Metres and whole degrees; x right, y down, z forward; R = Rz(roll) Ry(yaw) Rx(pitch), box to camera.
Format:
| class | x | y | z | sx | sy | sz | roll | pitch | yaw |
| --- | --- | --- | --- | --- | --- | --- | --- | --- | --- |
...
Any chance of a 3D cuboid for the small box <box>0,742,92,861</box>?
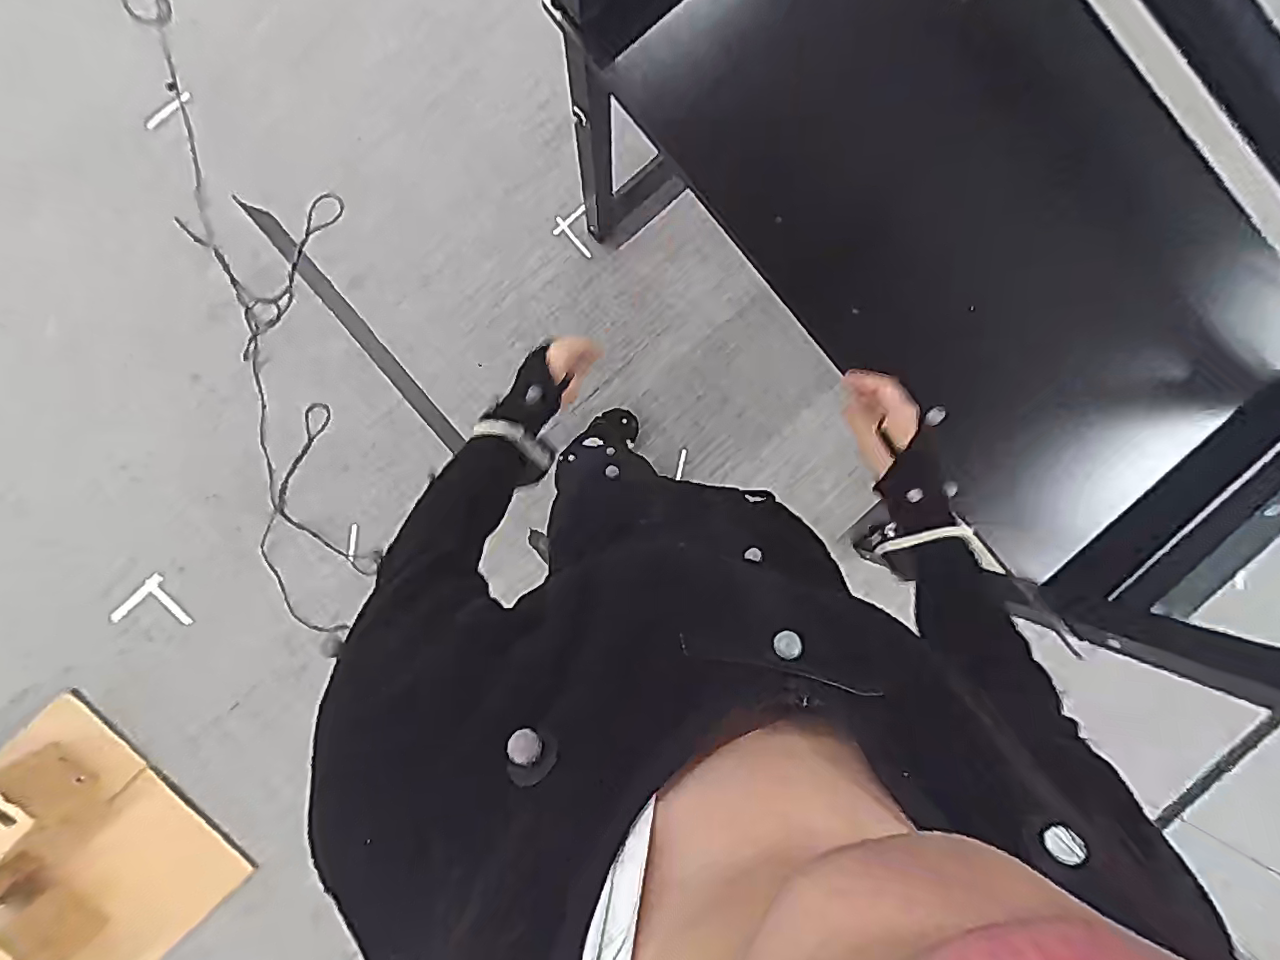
| class | x | y | z | sx | sy | sz | roll | pitch | yaw |
| --- | --- | --- | --- | --- | --- | --- | --- | --- | --- |
| small box | -1.547 | 0.801 | 1.349 | 0.168 | 0.176 | 0.179 | 44 | 90 | -4 |
